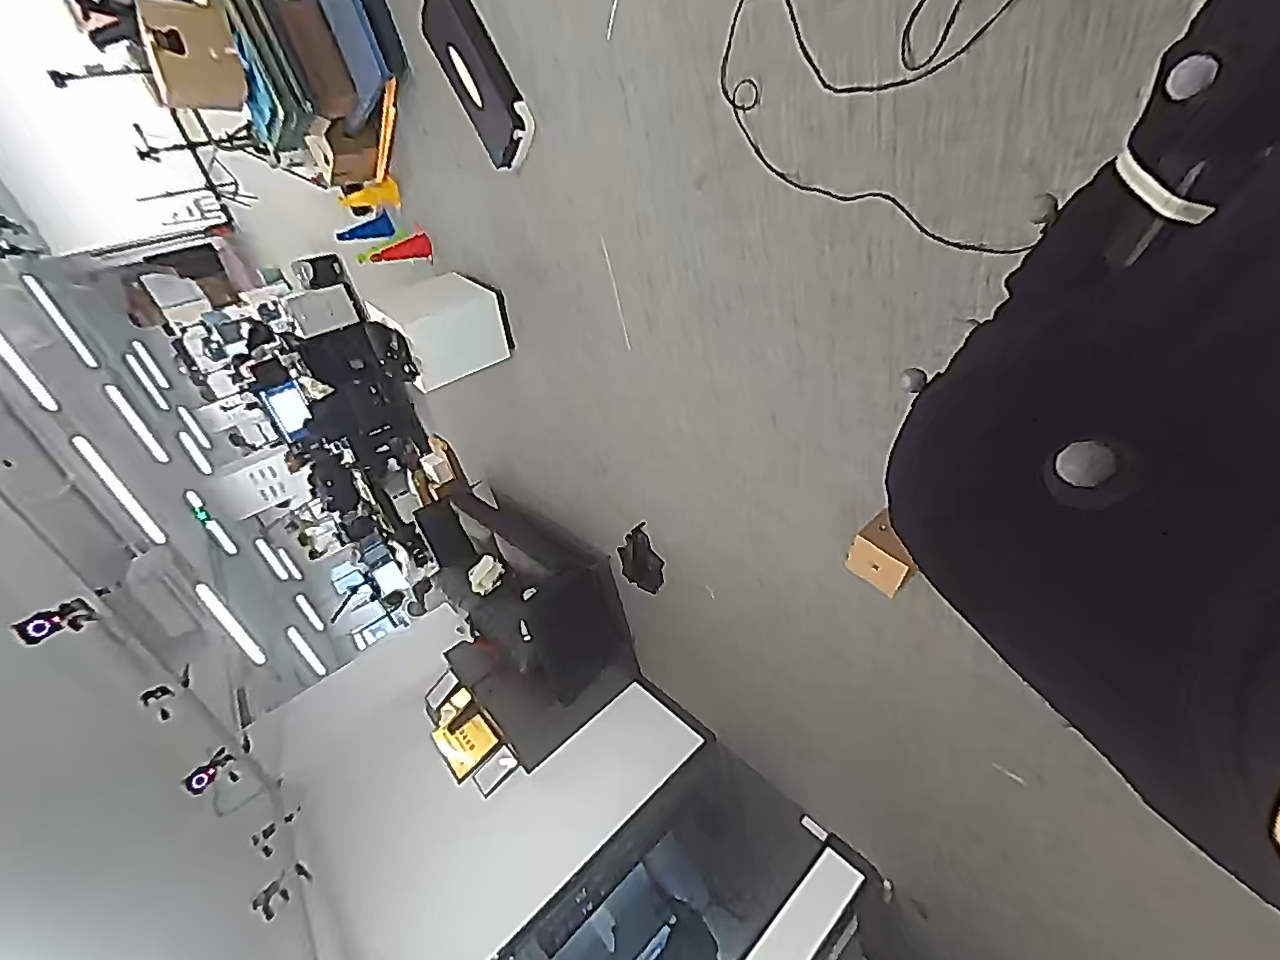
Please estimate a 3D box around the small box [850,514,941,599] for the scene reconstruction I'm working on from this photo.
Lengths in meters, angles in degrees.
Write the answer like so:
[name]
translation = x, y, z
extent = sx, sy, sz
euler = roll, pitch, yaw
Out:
[small box]
translation = 0.799, 0.231, 1.696
extent = 0.179, 0.176, 0.168
euler = 36, 145, 33
